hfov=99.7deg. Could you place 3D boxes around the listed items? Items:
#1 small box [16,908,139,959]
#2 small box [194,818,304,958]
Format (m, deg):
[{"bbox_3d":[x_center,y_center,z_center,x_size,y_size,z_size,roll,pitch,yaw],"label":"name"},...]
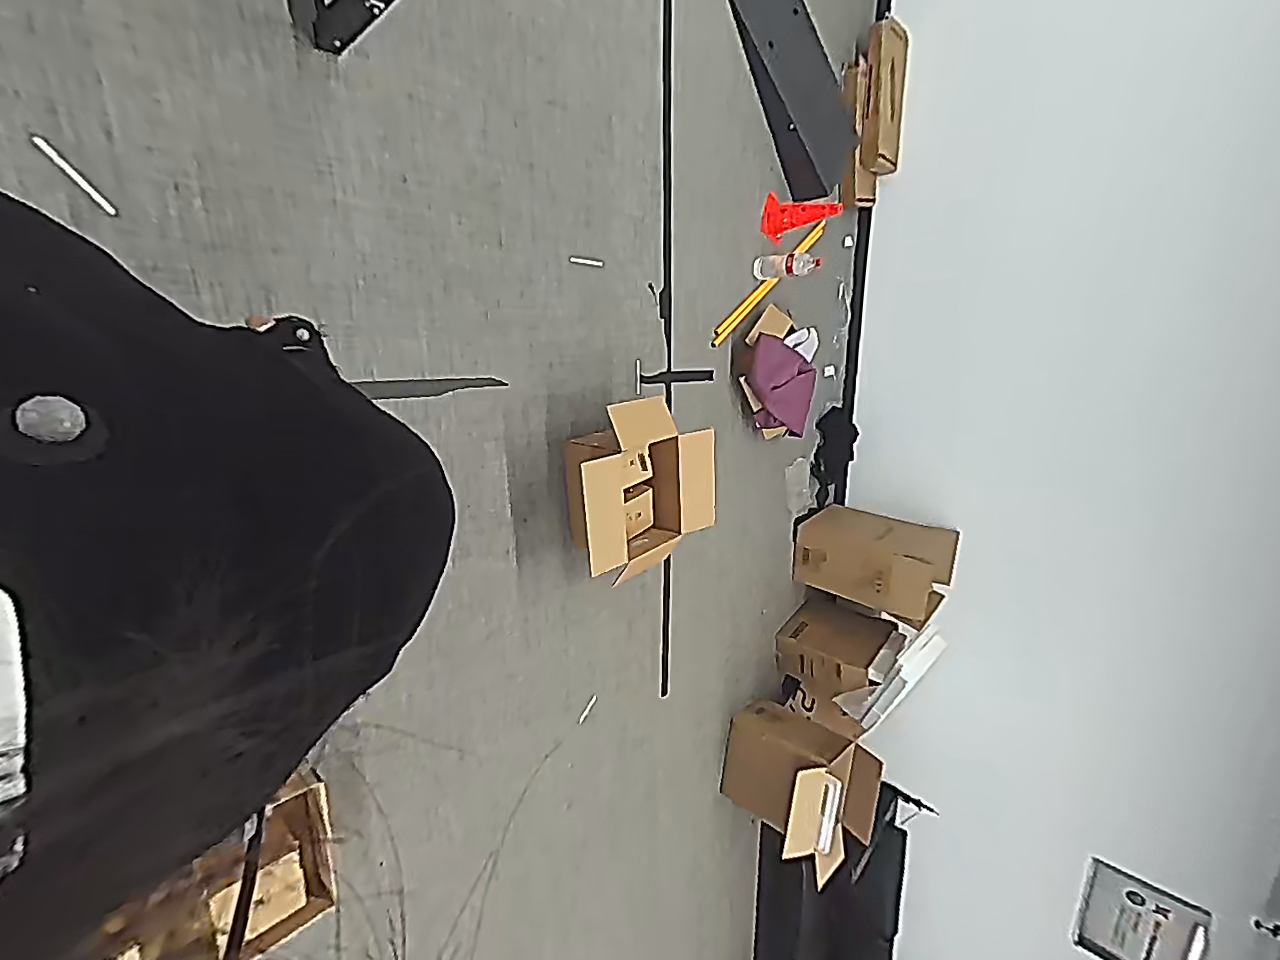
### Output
[{"bbox_3d":[-1.139,1.029,1.101,0.168,0.176,0.179,-10,105,-48],"label":"small box"},{"bbox_3d":[-0.944,0.969,1.307,0.179,0.176,0.168,-12,106,-45],"label":"small box"}]
